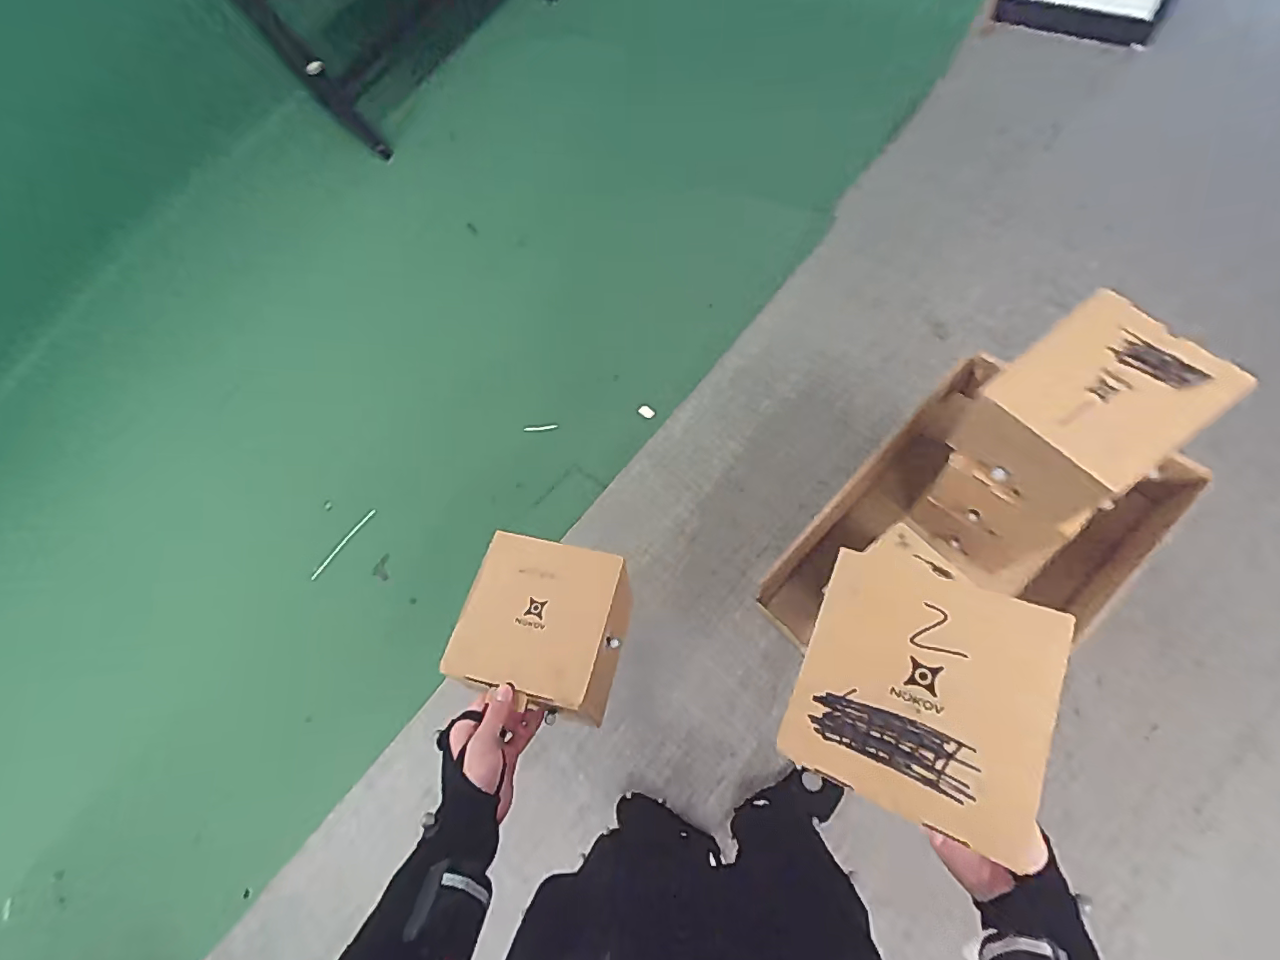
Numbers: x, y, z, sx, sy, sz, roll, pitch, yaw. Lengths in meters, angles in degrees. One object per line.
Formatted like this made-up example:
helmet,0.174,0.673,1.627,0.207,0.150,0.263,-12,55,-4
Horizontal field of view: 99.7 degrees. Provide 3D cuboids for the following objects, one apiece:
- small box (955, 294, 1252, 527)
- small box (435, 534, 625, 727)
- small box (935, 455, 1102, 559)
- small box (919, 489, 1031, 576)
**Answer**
small box,0.511,-0.071,0.635,0.179,0.176,0.168,-40,64,2
small box,-0.120,0.194,0.679,0.168,0.176,0.179,10,59,10
small box,0.560,-0.012,0.780,0.168,0.176,0.179,40,87,25
small box,0.609,0.039,0.926,0.168,0.176,0.179,41,87,26
